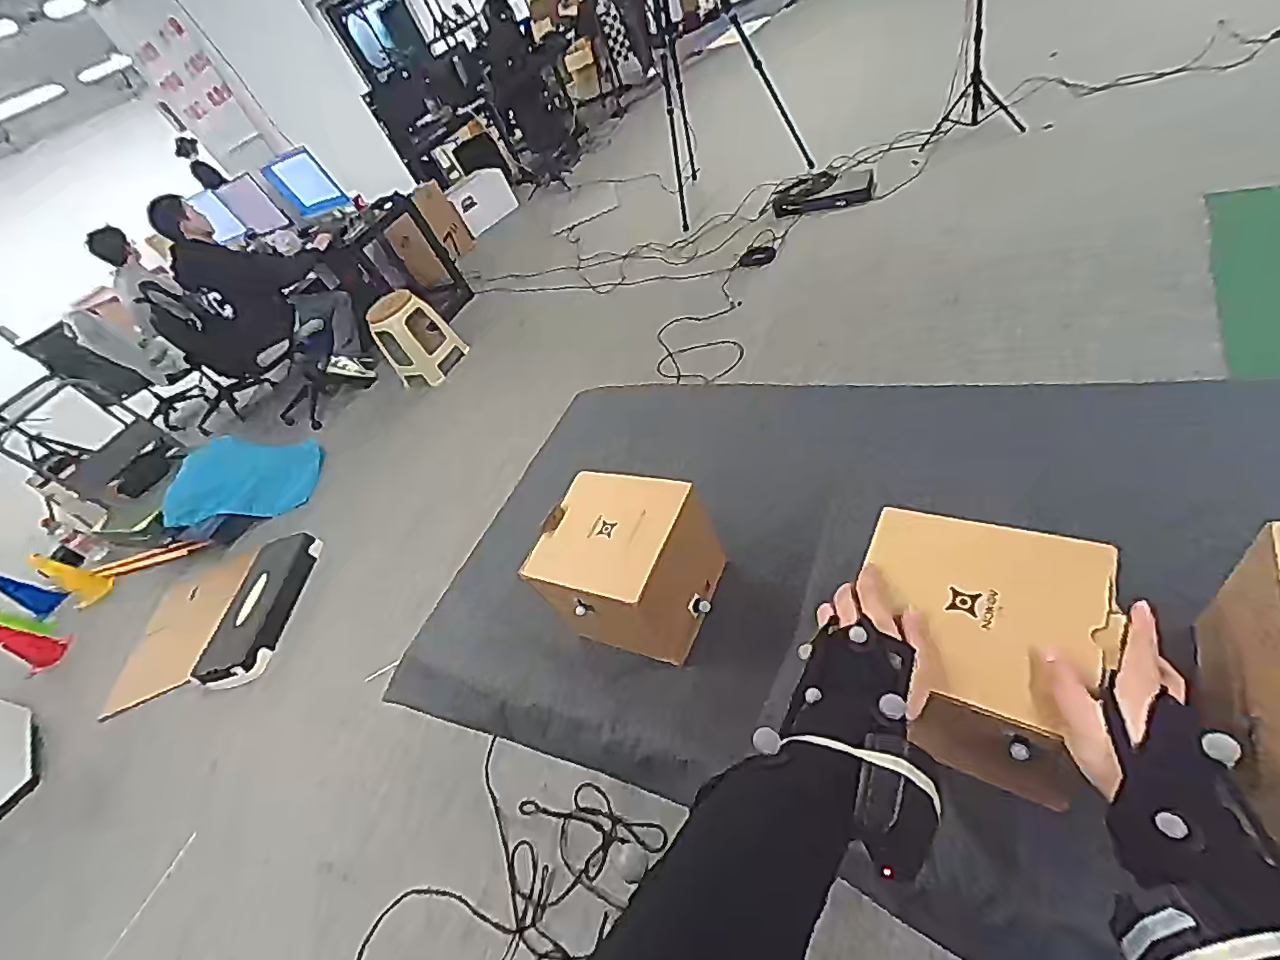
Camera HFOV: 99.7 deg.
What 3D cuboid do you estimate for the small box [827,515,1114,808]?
[{"bbox_3d":[0.289,0.158,0.484,0.179,0.176,0.168,11,54,35],"label":"small box"}]

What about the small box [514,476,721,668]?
[{"bbox_3d":[-0.018,0.116,0.691,0.179,0.176,0.168,7,53,32],"label":"small box"}]
